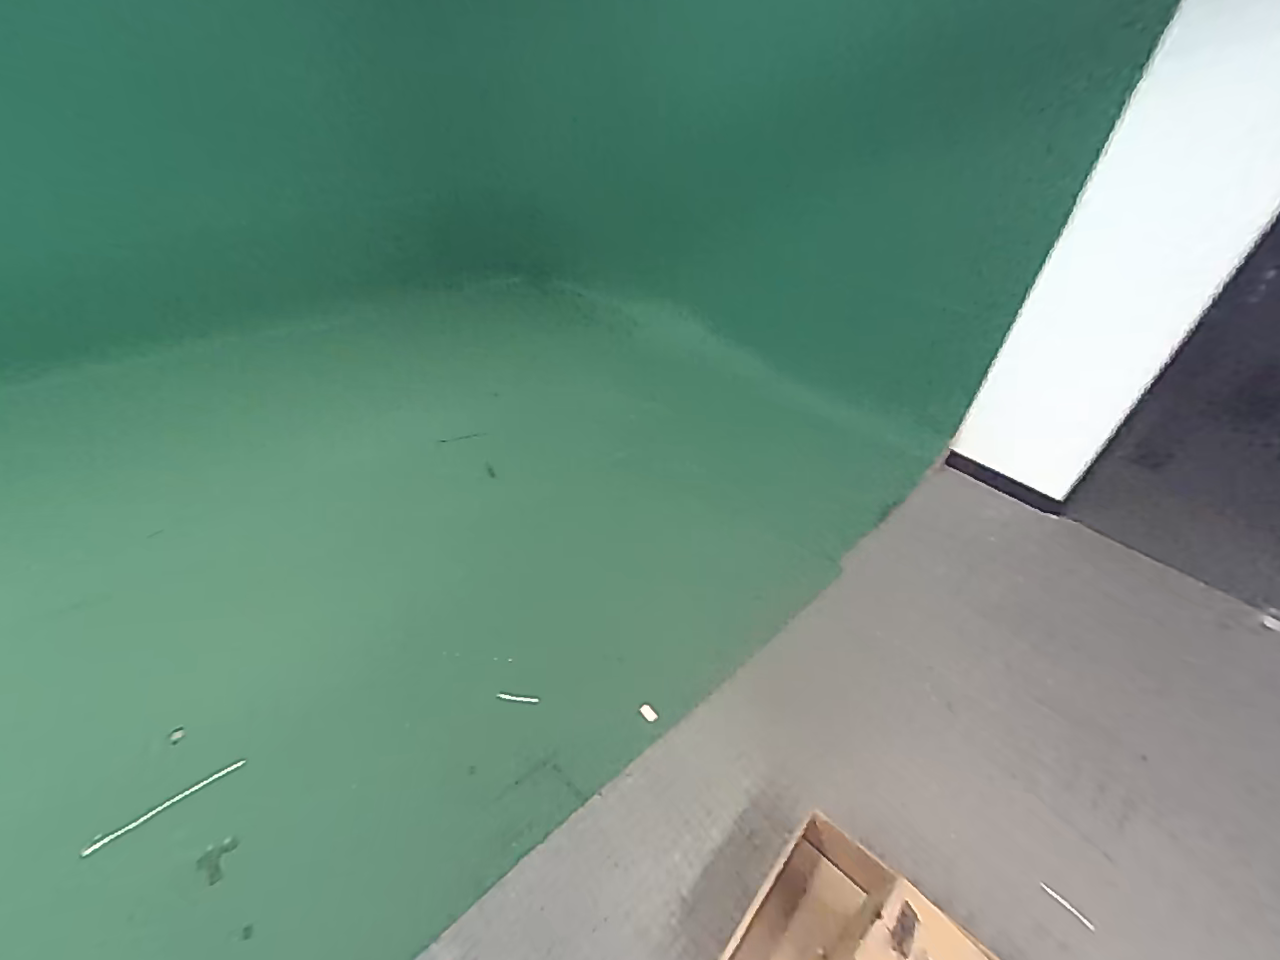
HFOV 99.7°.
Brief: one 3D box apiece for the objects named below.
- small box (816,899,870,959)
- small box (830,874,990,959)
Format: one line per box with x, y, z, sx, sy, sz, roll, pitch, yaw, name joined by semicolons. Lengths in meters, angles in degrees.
0.441;0.951;1.019;0.168;0.176;0.179;-29;53;-31;small box
0.450;0.826;0.912;0.168;0.176;0.179;-30;53;-32;small box
